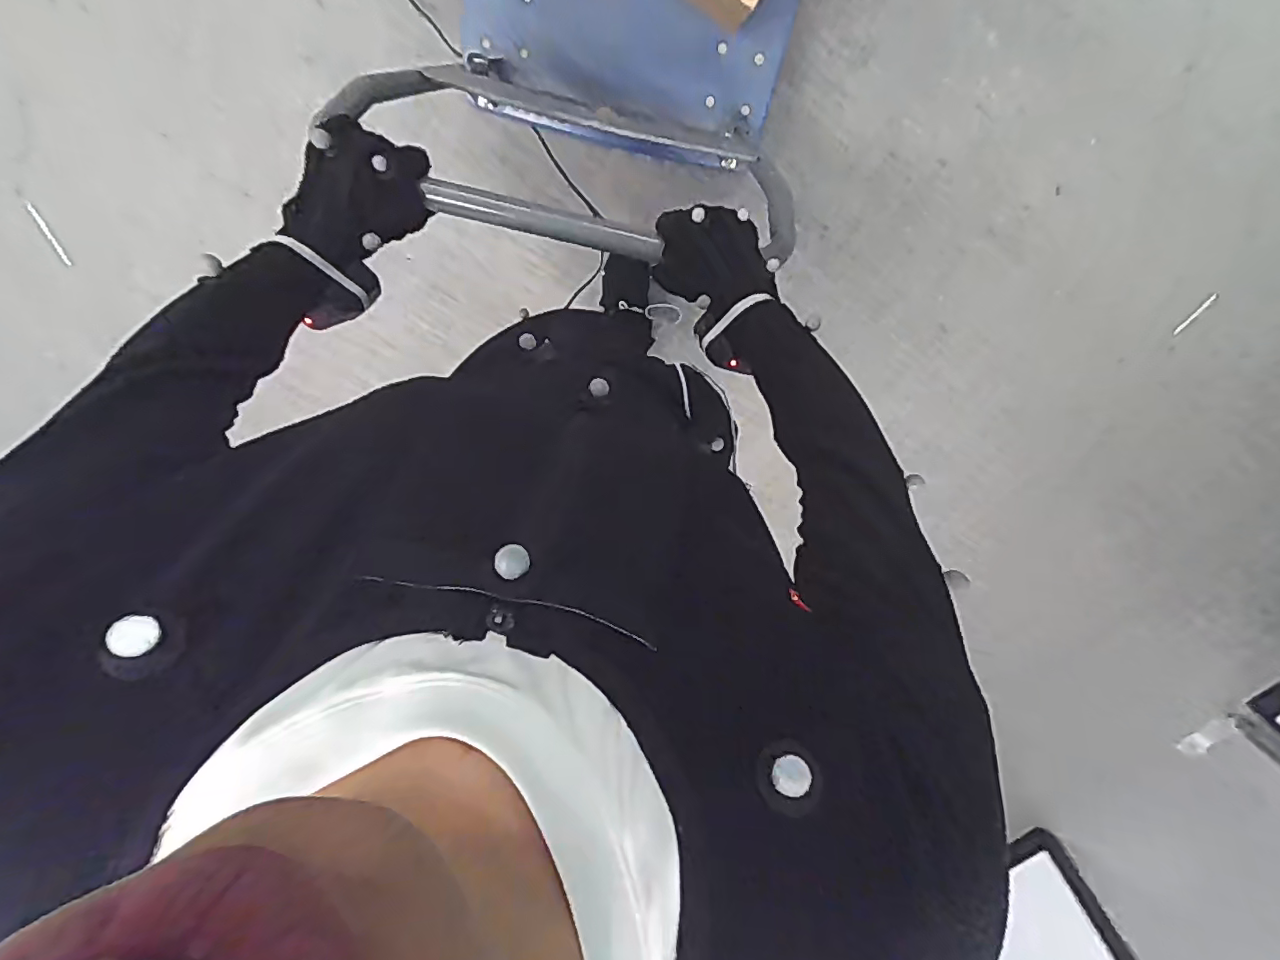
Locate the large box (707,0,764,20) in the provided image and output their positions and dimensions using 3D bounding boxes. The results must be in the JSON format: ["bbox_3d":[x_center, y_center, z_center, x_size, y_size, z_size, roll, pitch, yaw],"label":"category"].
[{"bbox_3d":[0.062,-0.894,0.700,0.408,0.320,0.320,25,123,-13],"label":"large box"}]
